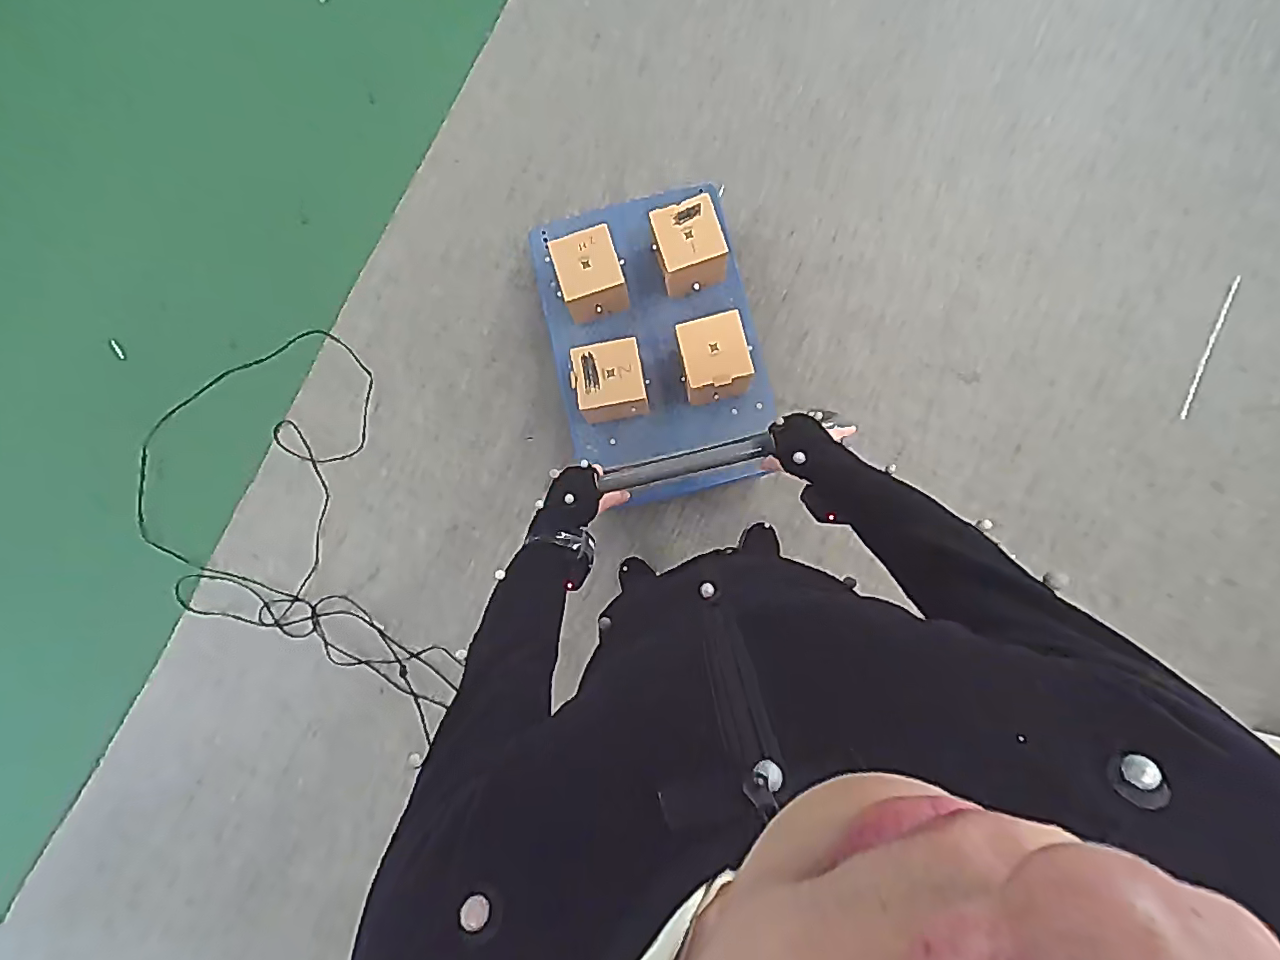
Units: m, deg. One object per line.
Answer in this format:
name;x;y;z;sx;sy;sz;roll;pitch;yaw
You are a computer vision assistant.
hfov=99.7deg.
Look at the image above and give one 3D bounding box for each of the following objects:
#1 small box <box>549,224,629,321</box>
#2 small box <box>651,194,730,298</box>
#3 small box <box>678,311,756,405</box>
small box;-0.133;-0.555;1.479;0.168;0.176;0.179;-17;83;2
small box;0.133;-0.626;1.466;0.168;0.176;0.179;-17;84;3
small box;0.196;-0.316;1.430;0.168;0.176;0.179;-14;84;3
